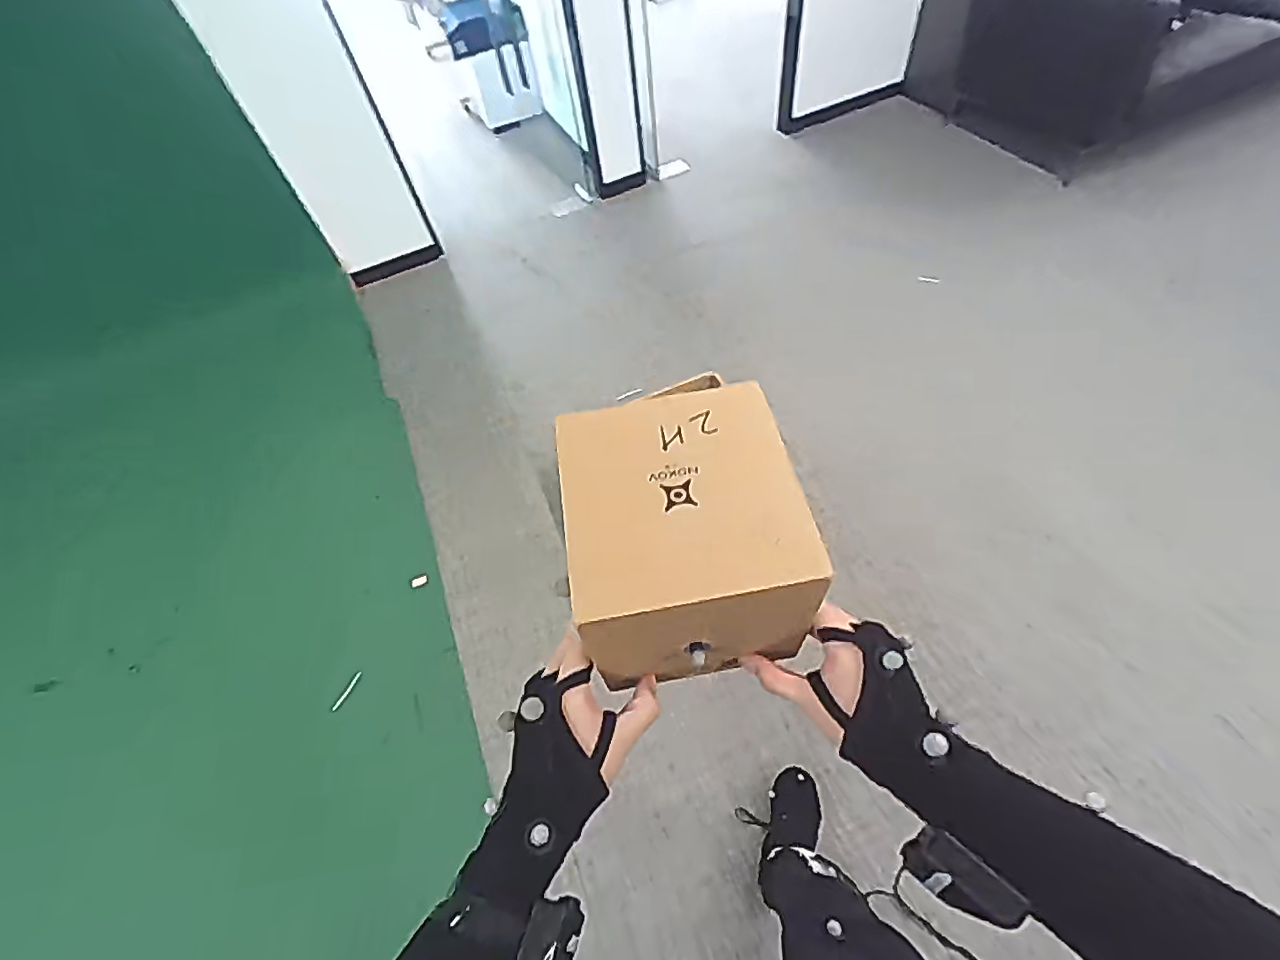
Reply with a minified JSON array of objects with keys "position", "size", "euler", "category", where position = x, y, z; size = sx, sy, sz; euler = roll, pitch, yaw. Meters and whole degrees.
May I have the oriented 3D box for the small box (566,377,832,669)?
[{"position":[0.038,0.045,0.448],"size":[0.168,0.176,0.179],"euler":[-9,54,-1],"category":"small box"}]
